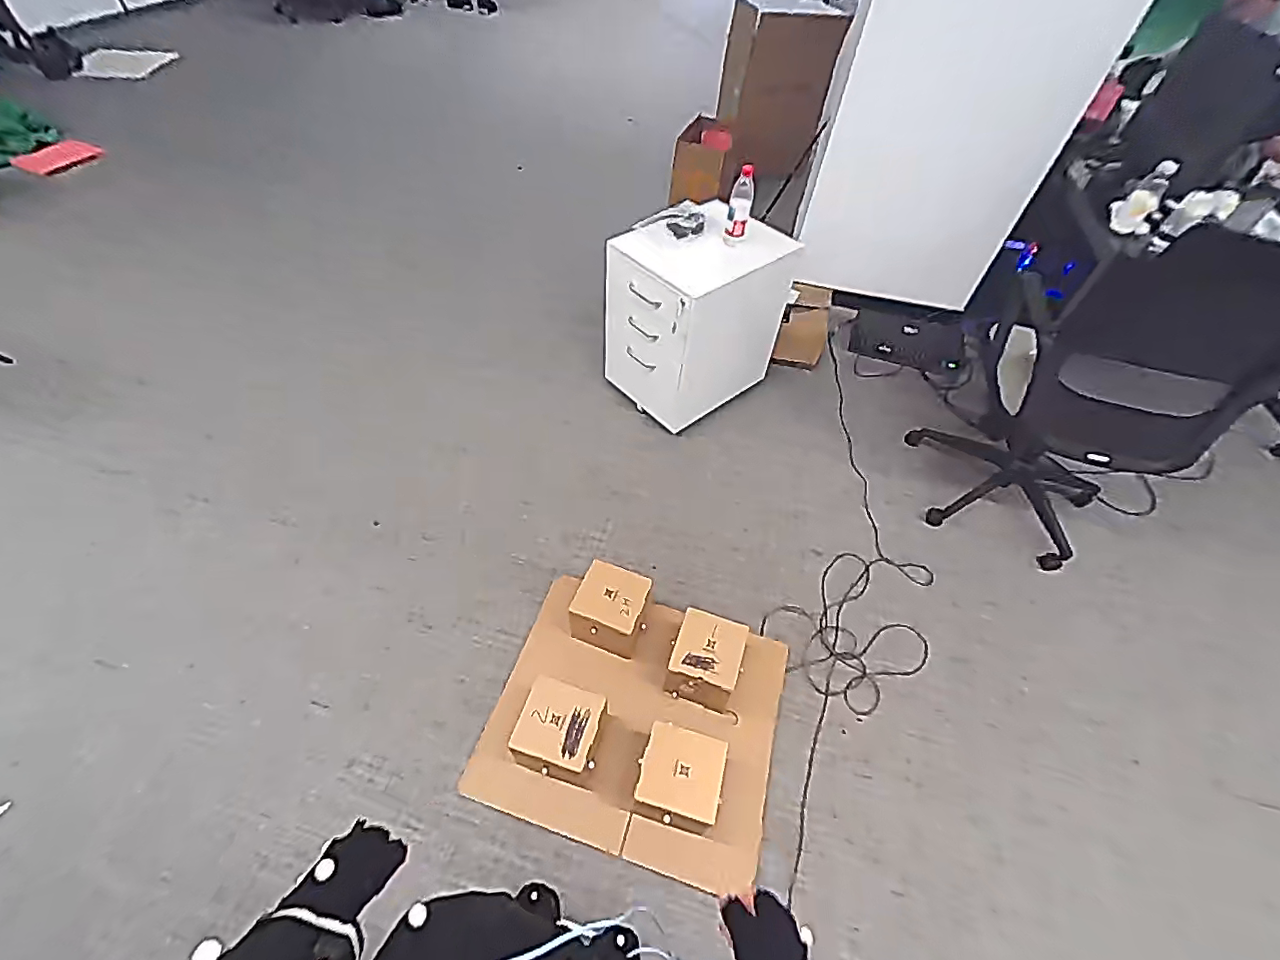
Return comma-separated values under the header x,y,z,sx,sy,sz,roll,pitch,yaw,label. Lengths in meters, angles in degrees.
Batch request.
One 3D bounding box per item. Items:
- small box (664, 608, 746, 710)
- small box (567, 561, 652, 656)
x,y,z,sx,sy,sz,roll,pitch,yaw,label
0.165,0.467,1.399,0.168,0.176,0.179,17,51,12,small box
-0.081,0.354,1.470,0.179,0.176,0.168,19,53,11,small box
